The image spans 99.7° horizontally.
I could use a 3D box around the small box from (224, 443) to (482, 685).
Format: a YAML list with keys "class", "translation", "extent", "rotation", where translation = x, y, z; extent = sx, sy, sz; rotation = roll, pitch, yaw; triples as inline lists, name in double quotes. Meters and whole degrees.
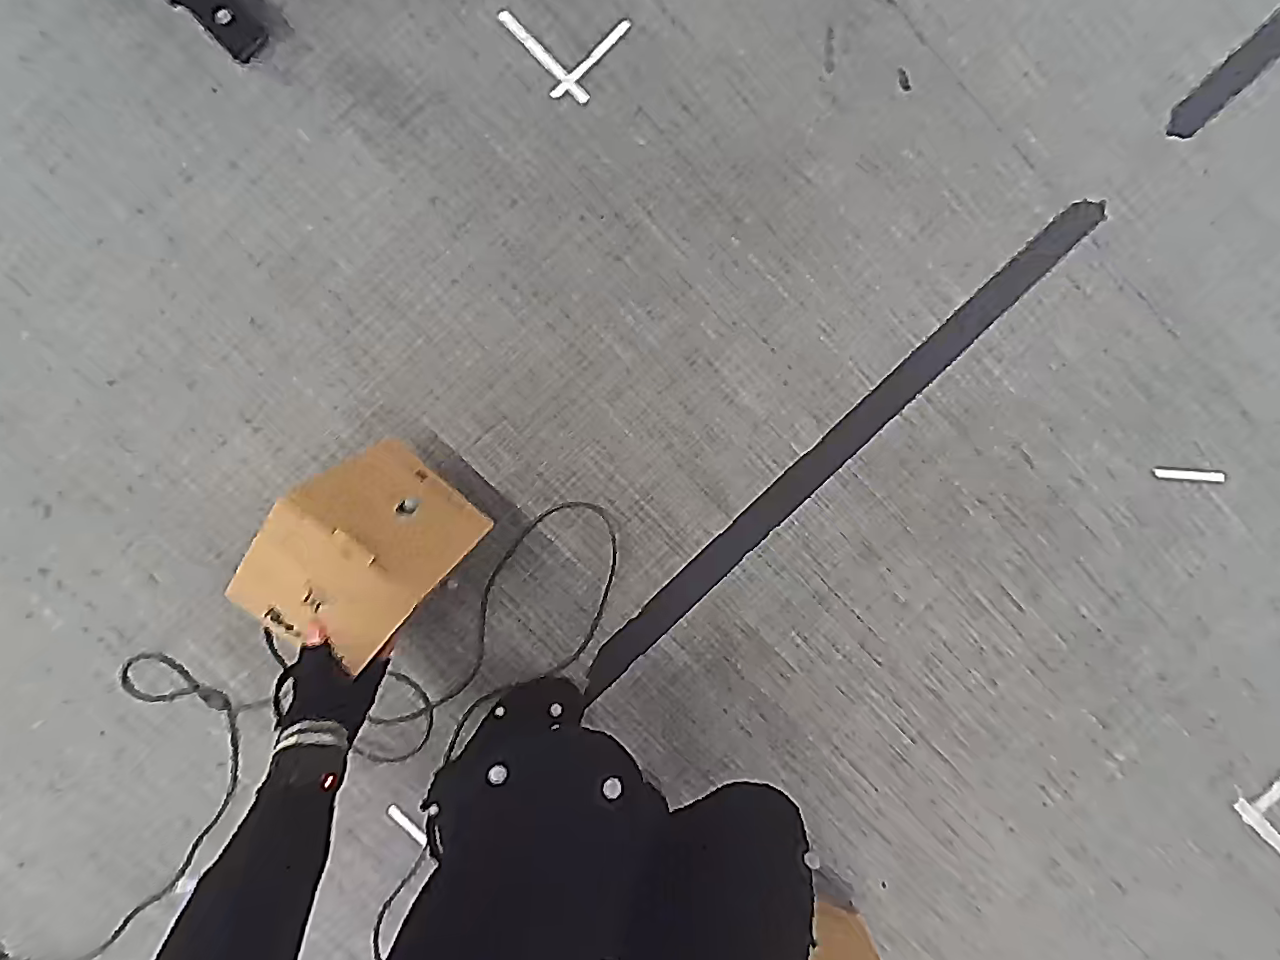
- class: "small box"
  translation: [-0.309, 0.086, 0.614]
  extent: [0.168, 0.176, 0.179]
  rotation: [43, 118, -6]
